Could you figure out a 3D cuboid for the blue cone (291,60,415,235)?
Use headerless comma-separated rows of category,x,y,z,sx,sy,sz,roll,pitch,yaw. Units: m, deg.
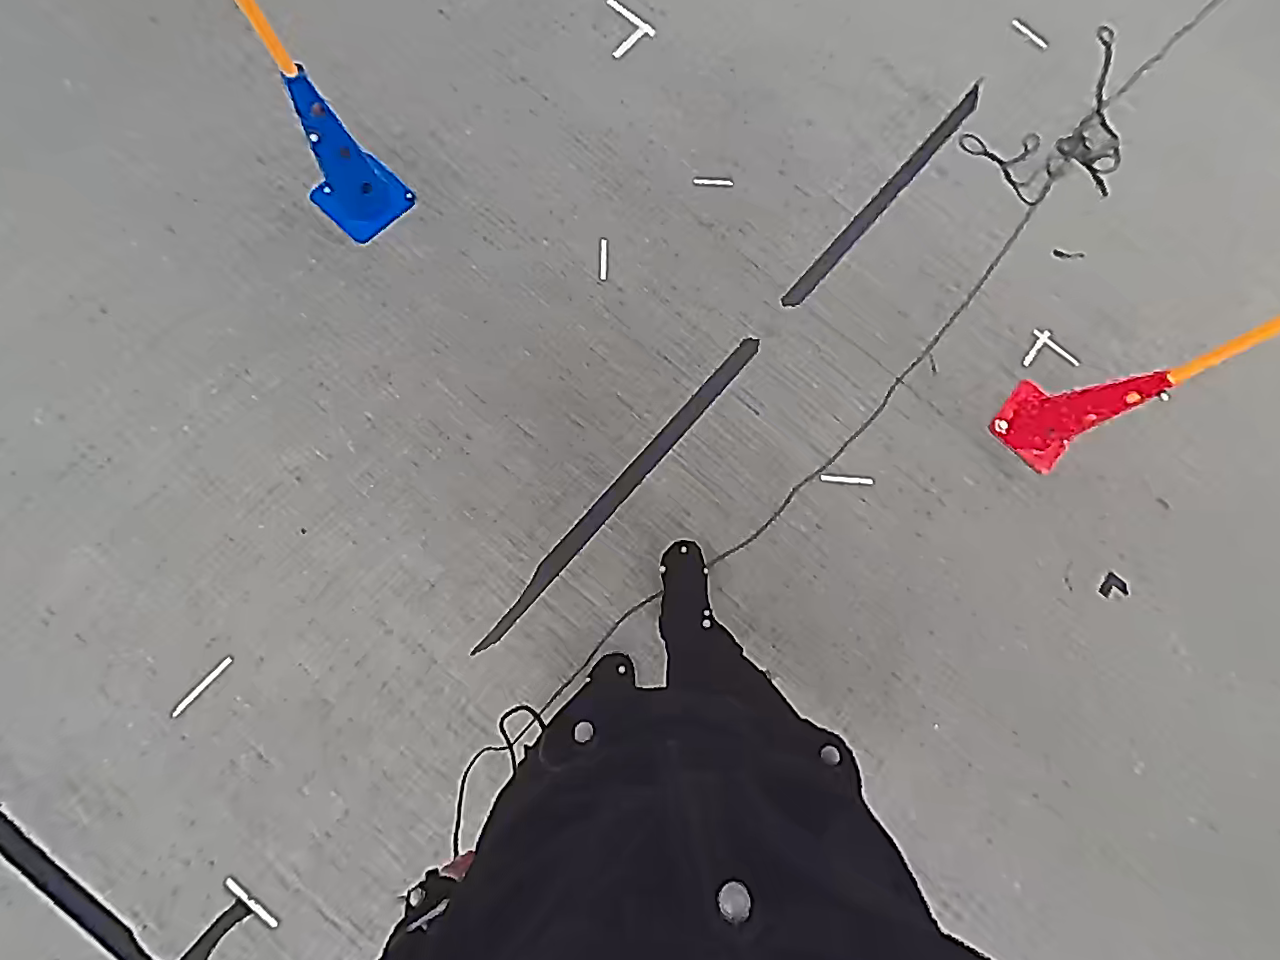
blue cone,-0.694,-0.770,1.240,0.193,0.380,0.192,44,78,3
